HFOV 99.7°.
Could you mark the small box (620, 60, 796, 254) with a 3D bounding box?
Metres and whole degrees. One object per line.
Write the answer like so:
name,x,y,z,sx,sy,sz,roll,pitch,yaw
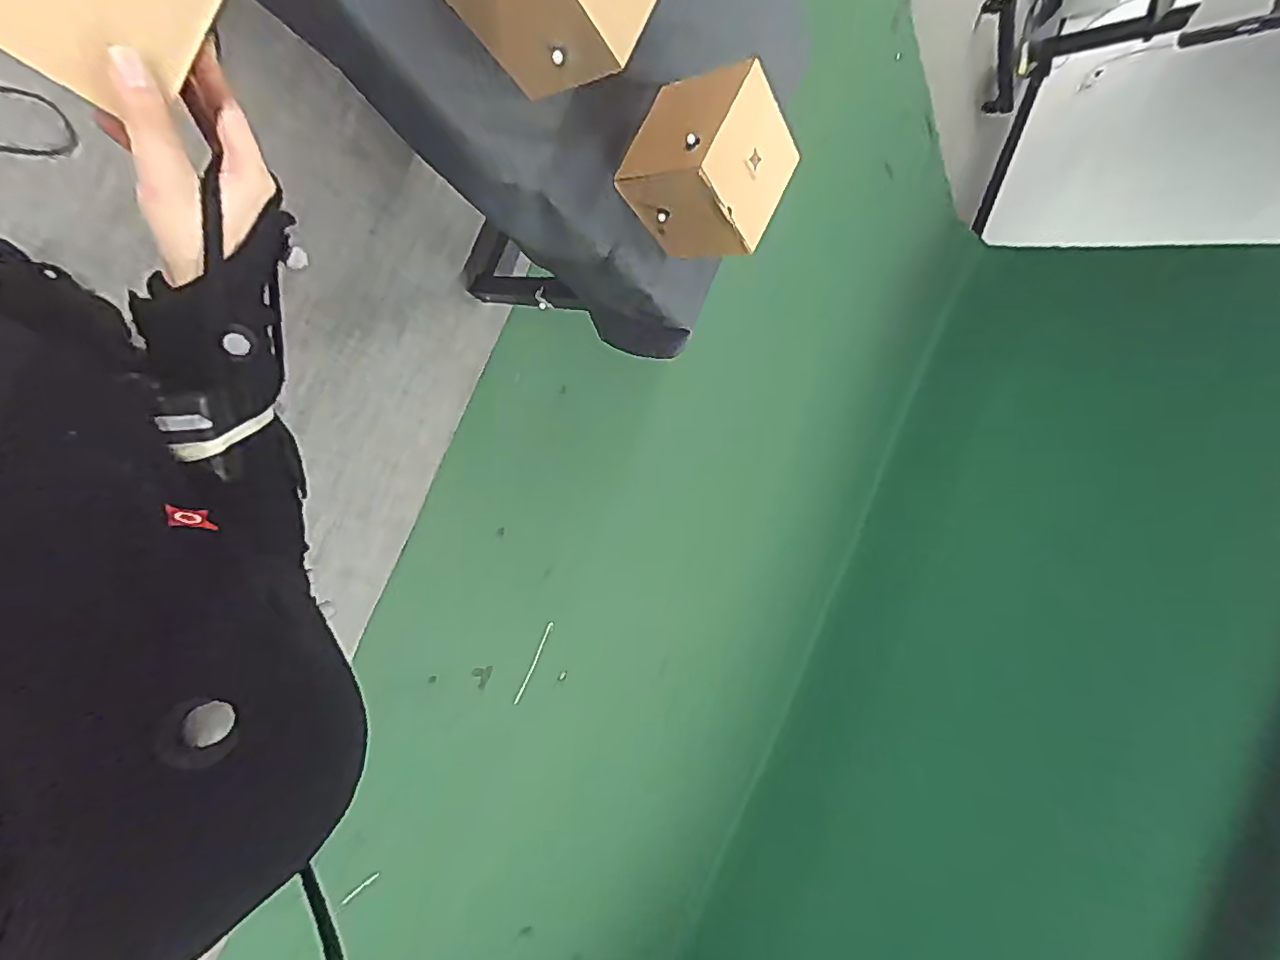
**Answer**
small box,0.099,-0.462,0.801,0.168,0.176,0.179,33,81,-48
